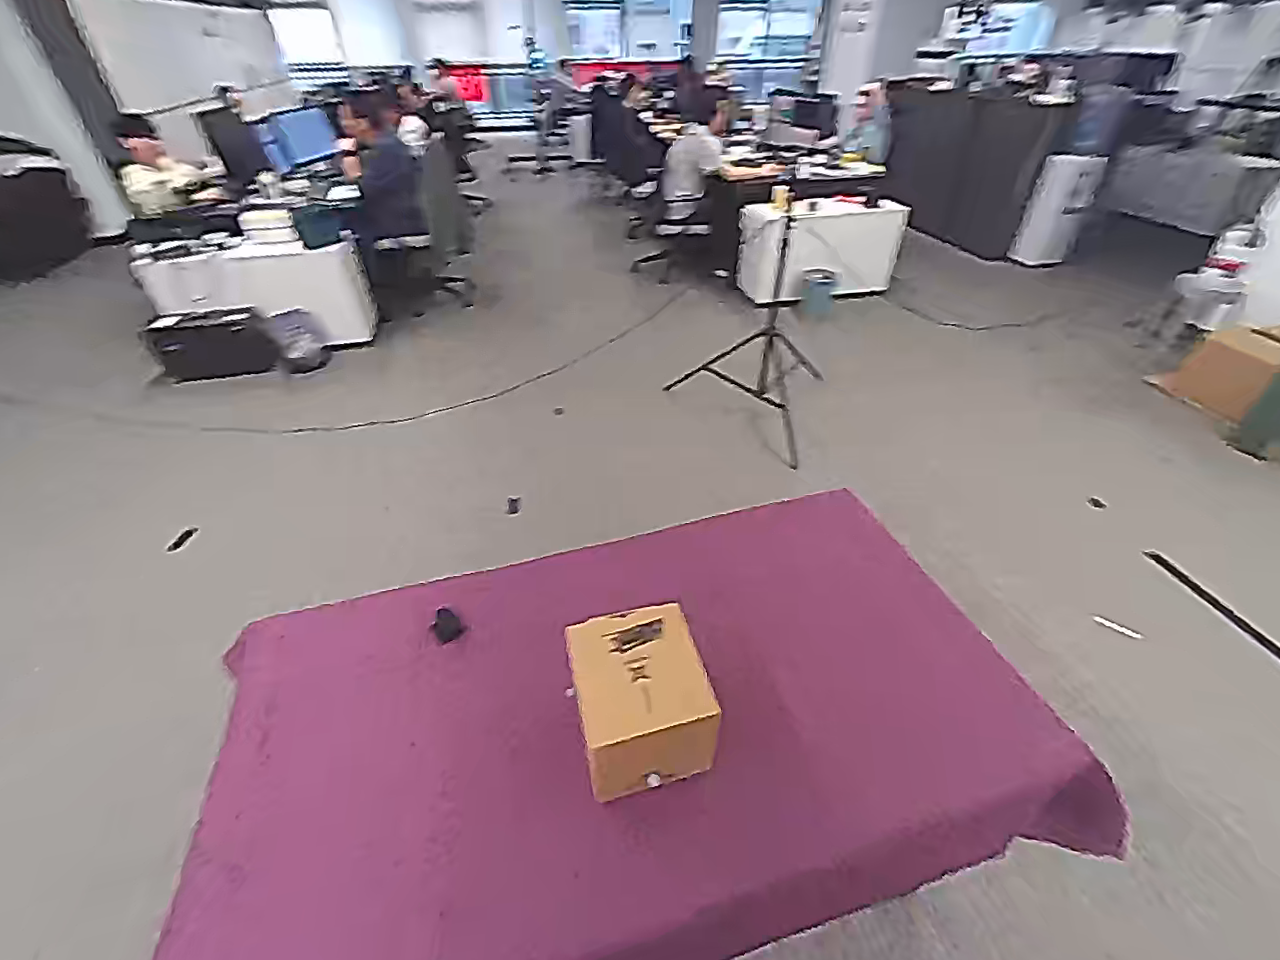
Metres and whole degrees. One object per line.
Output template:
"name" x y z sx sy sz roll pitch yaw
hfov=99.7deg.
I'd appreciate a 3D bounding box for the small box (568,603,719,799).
"small box" -0.002 0.308 0.762 0.168 0.176 0.179 -11 41 -12
